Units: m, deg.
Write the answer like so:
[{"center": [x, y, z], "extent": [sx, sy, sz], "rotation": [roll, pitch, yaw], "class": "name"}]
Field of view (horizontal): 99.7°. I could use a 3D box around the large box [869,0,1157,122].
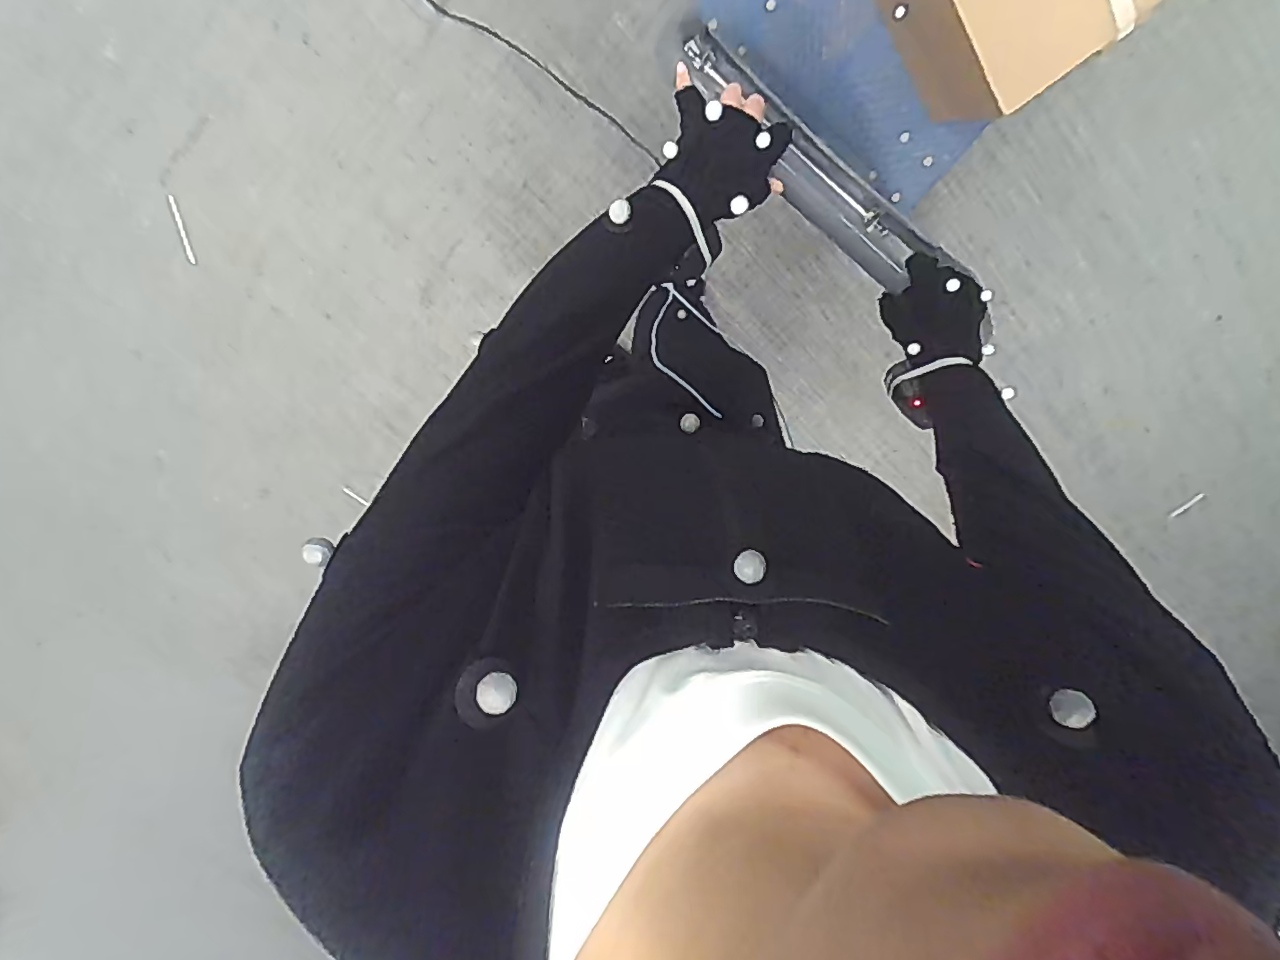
[{"center": [0.535, -0.822, 0.796], "extent": [0.320, 0.320, 0.408], "rotation": [-33, 113, 24], "class": "large box"}]
